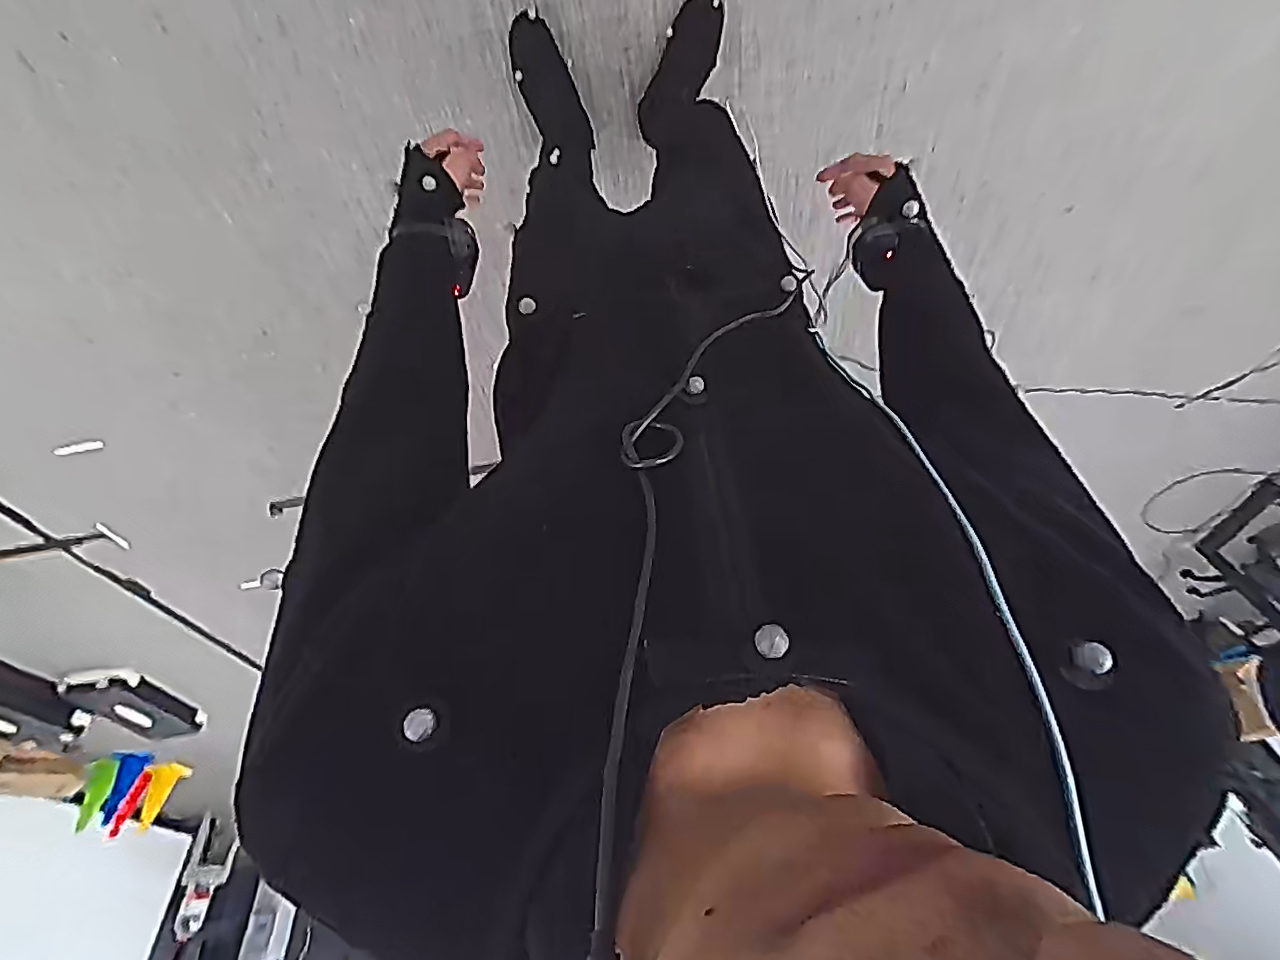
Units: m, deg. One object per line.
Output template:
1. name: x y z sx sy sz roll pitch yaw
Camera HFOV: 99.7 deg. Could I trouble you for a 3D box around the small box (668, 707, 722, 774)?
1. small box: 0.198 0.960 1.995 0.179 0.176 0.168 -9 138 -1
